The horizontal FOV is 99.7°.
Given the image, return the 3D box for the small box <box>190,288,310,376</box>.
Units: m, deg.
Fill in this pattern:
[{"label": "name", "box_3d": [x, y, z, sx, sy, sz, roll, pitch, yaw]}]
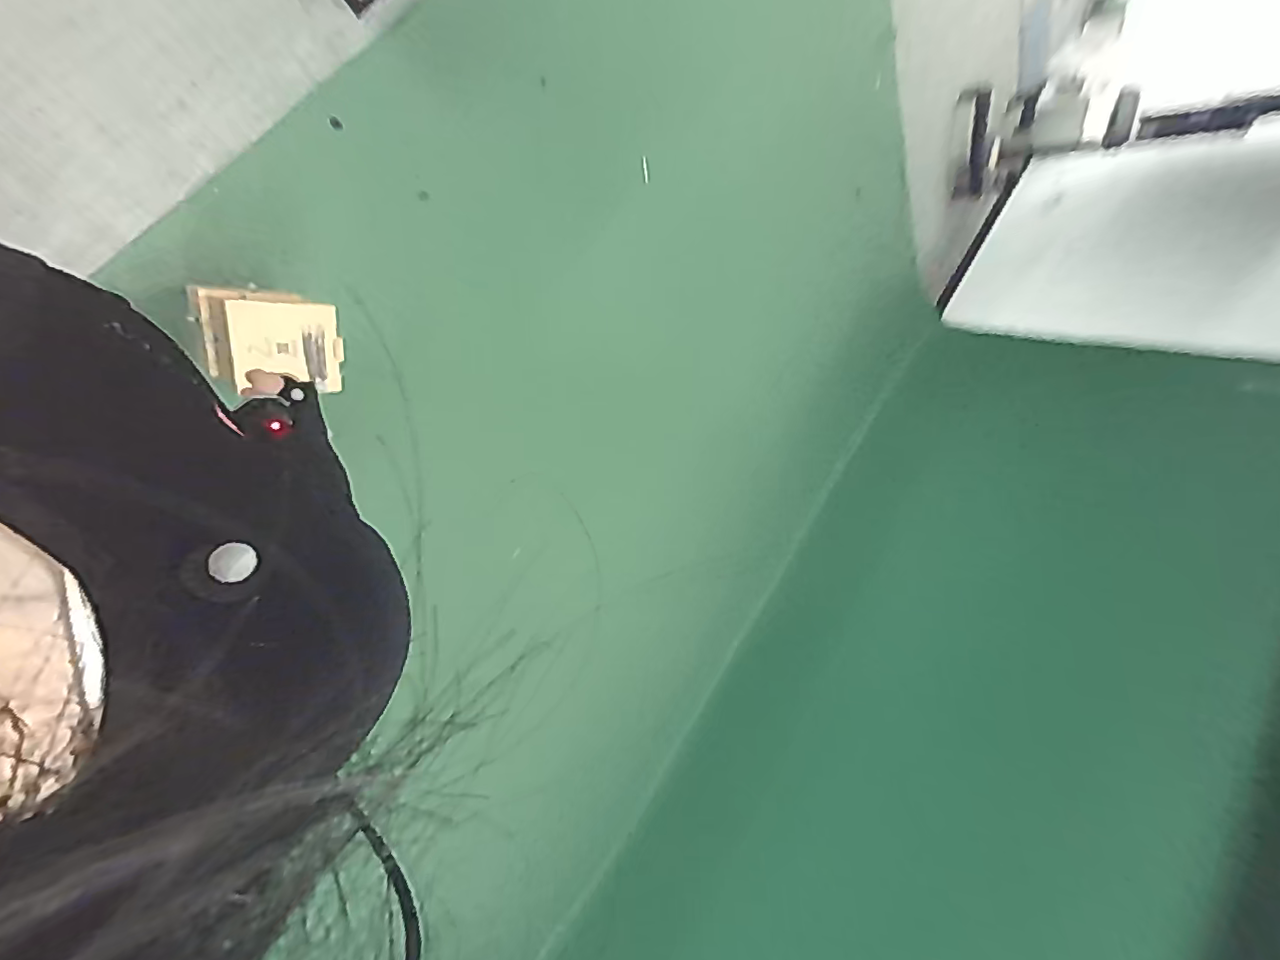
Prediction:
[{"label": "small box", "box_3d": [-0.825, -0.313, 1.141, 0.179, 0.176, 0.168, -13, 116, -43]}]
